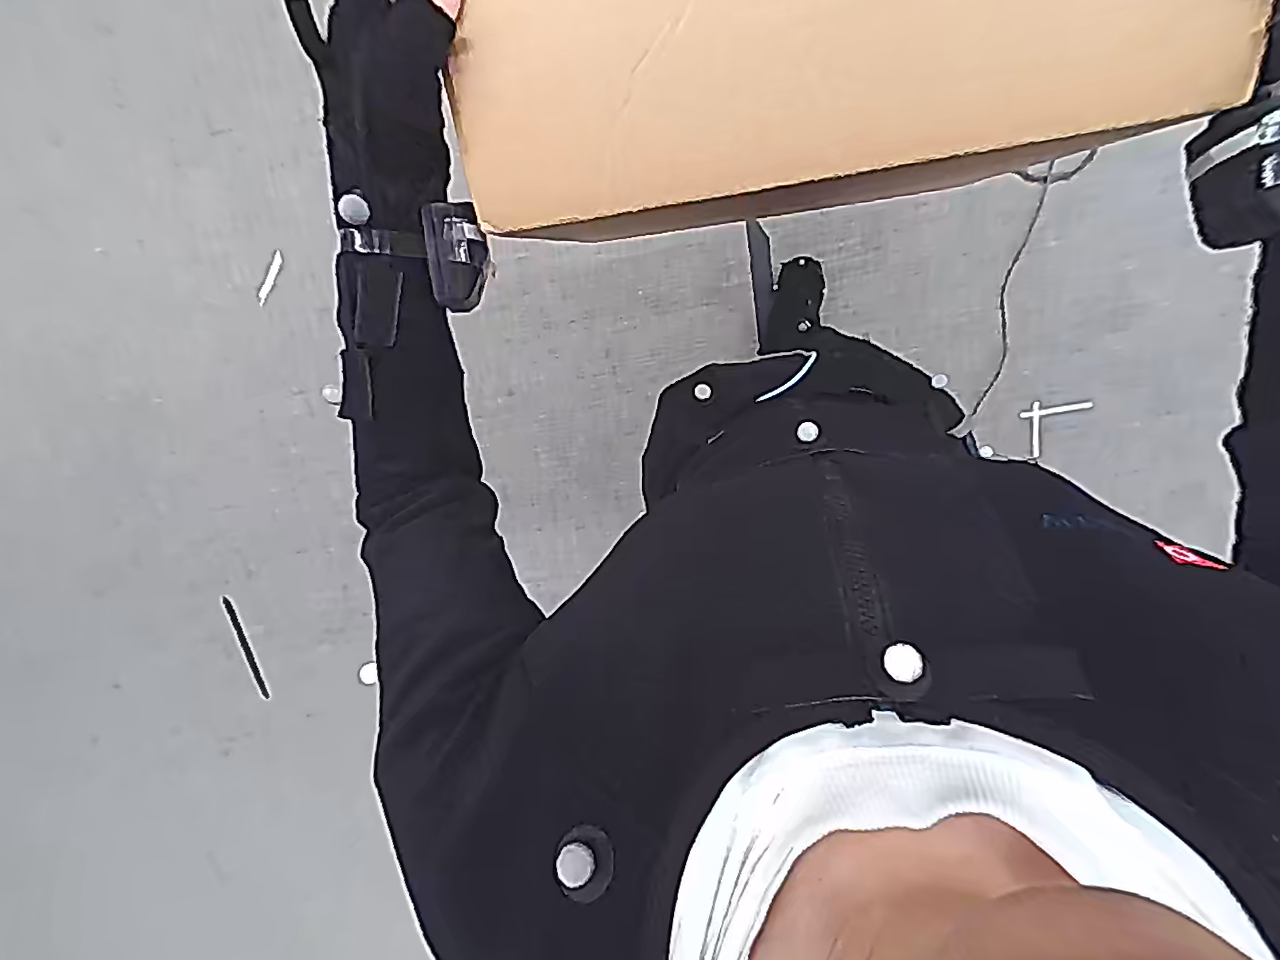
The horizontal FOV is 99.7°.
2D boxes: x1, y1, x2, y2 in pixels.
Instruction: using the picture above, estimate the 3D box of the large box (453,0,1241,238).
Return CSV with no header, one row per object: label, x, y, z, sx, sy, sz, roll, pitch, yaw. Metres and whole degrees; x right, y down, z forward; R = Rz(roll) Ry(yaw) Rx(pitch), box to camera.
large box,0.099,-0.380,0.394,0.408,0.320,0.320,-5,112,9
